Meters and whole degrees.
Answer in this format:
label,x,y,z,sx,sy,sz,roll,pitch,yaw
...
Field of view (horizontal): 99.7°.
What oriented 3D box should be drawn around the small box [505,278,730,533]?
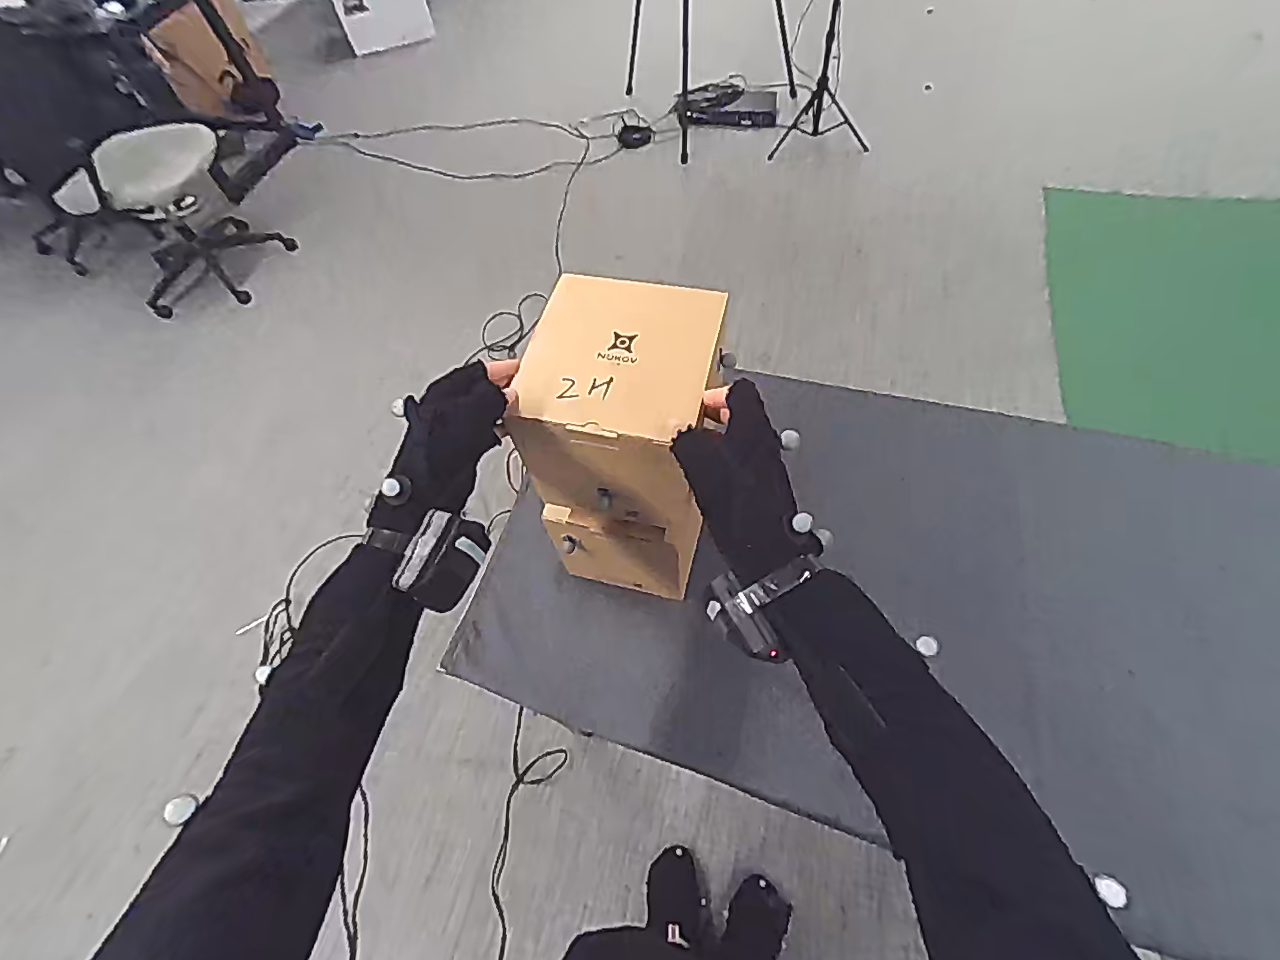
label,x,y,z,sx,sy,sz,roll,pitch,yaw
small box,-0.011,-0.071,0.546,0.168,0.176,0.179,11,62,11
